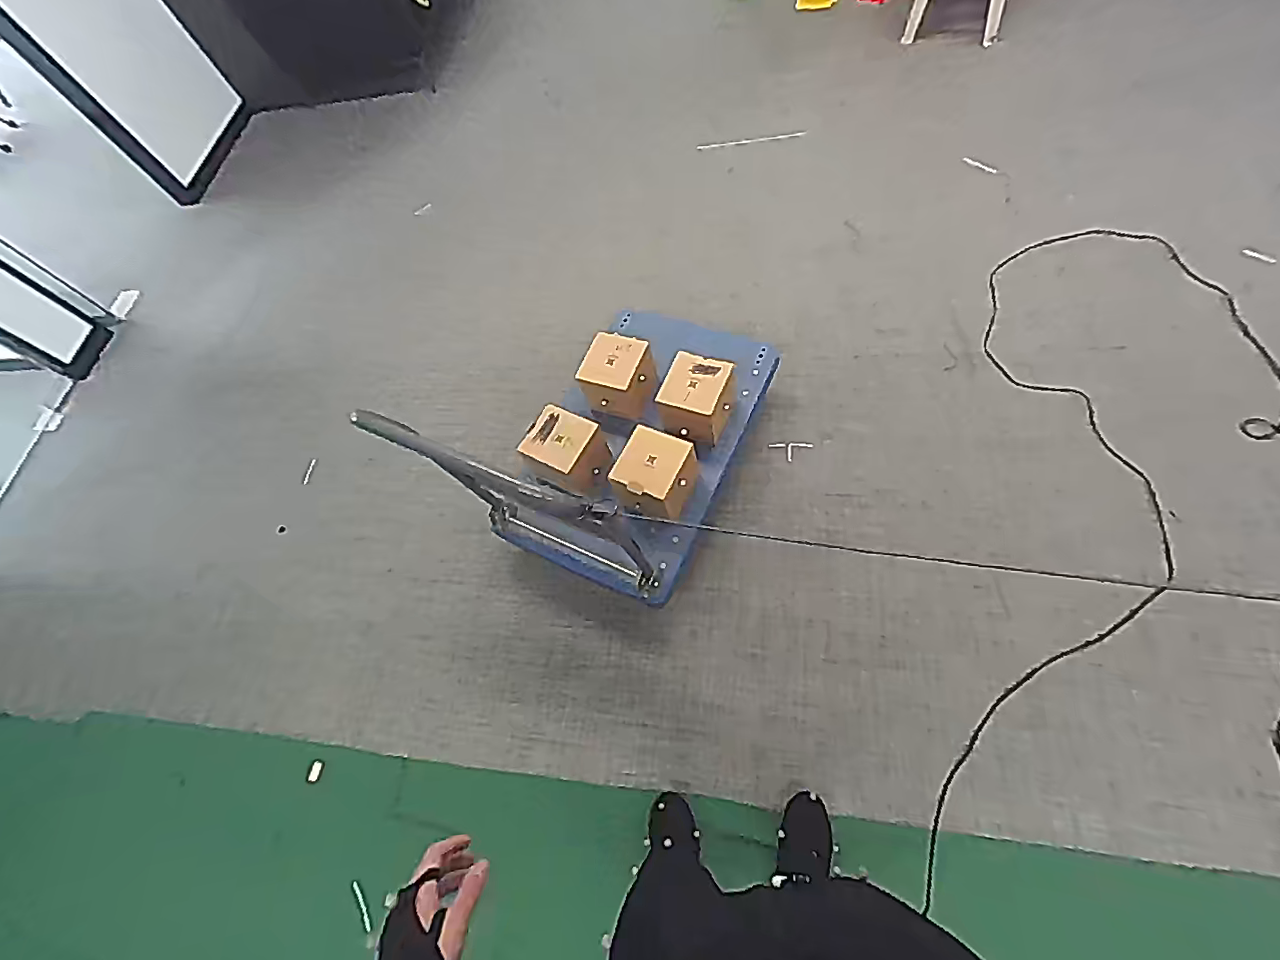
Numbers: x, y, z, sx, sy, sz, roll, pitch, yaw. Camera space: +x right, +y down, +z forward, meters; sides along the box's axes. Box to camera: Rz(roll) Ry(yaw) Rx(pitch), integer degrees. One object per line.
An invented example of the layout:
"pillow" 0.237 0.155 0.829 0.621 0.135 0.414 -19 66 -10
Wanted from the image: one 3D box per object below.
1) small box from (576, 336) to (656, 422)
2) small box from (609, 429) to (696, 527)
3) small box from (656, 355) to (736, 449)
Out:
"small box" -0.063 -0.296 1.611 0.168 0.176 0.179 18 69 19
"small box" 0.043 -0.002 1.447 0.168 0.176 0.179 22 71 21
"small box" 0.164 -0.216 1.523 0.168 0.176 0.179 19 71 20
